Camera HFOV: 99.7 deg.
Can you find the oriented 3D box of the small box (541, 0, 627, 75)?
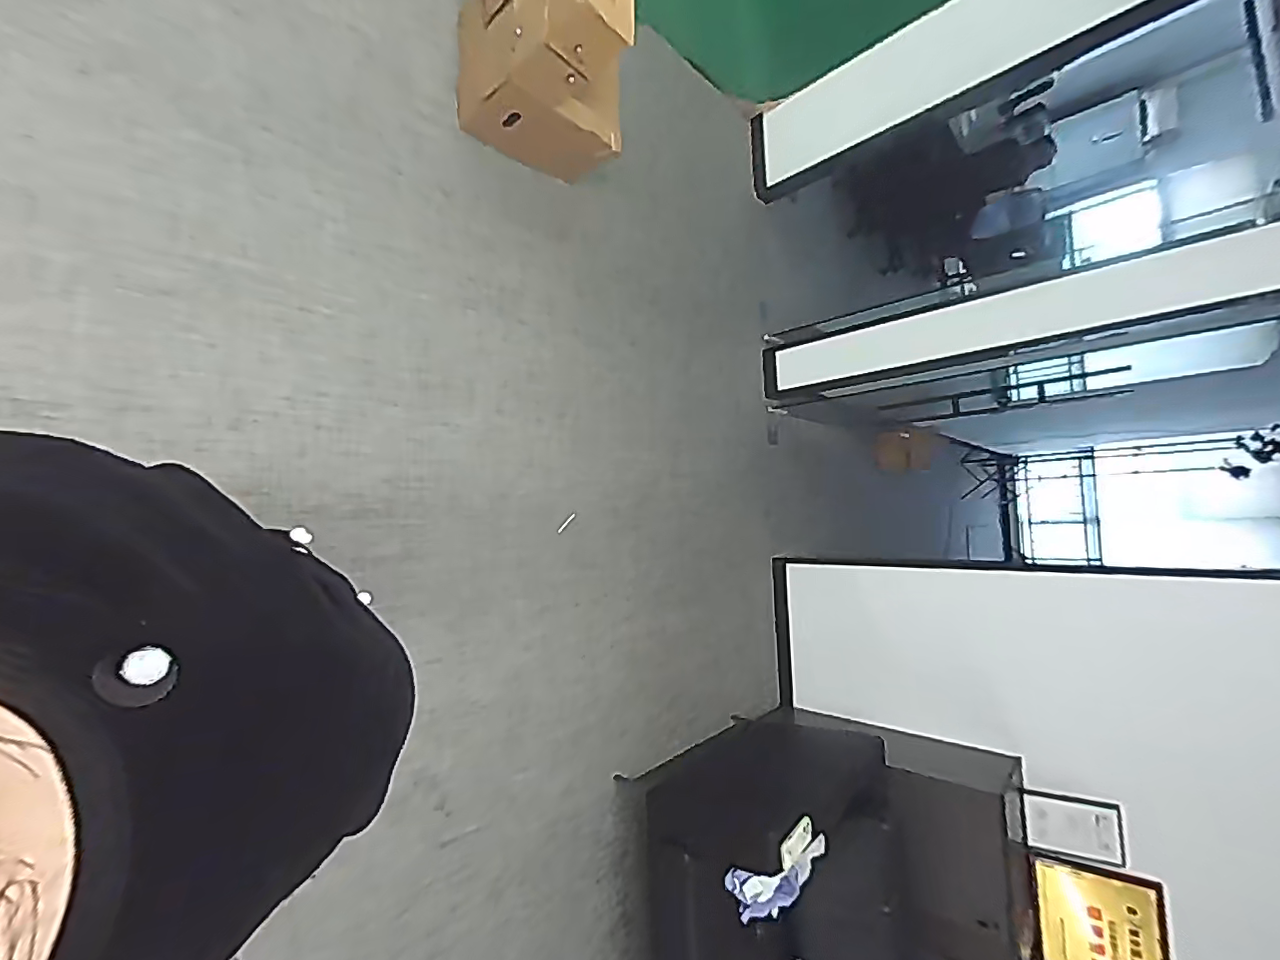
[{"bbox_3d":[-0.151,-1.257,1.456,0.168,0.176,0.179,6,83,-48],"label":"small box"}]

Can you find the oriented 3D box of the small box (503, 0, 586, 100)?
[{"bbox_3d":[-0.274,-1.250,1.563,0.179,0.176,0.168,5,82,-48],"label":"small box"}]
